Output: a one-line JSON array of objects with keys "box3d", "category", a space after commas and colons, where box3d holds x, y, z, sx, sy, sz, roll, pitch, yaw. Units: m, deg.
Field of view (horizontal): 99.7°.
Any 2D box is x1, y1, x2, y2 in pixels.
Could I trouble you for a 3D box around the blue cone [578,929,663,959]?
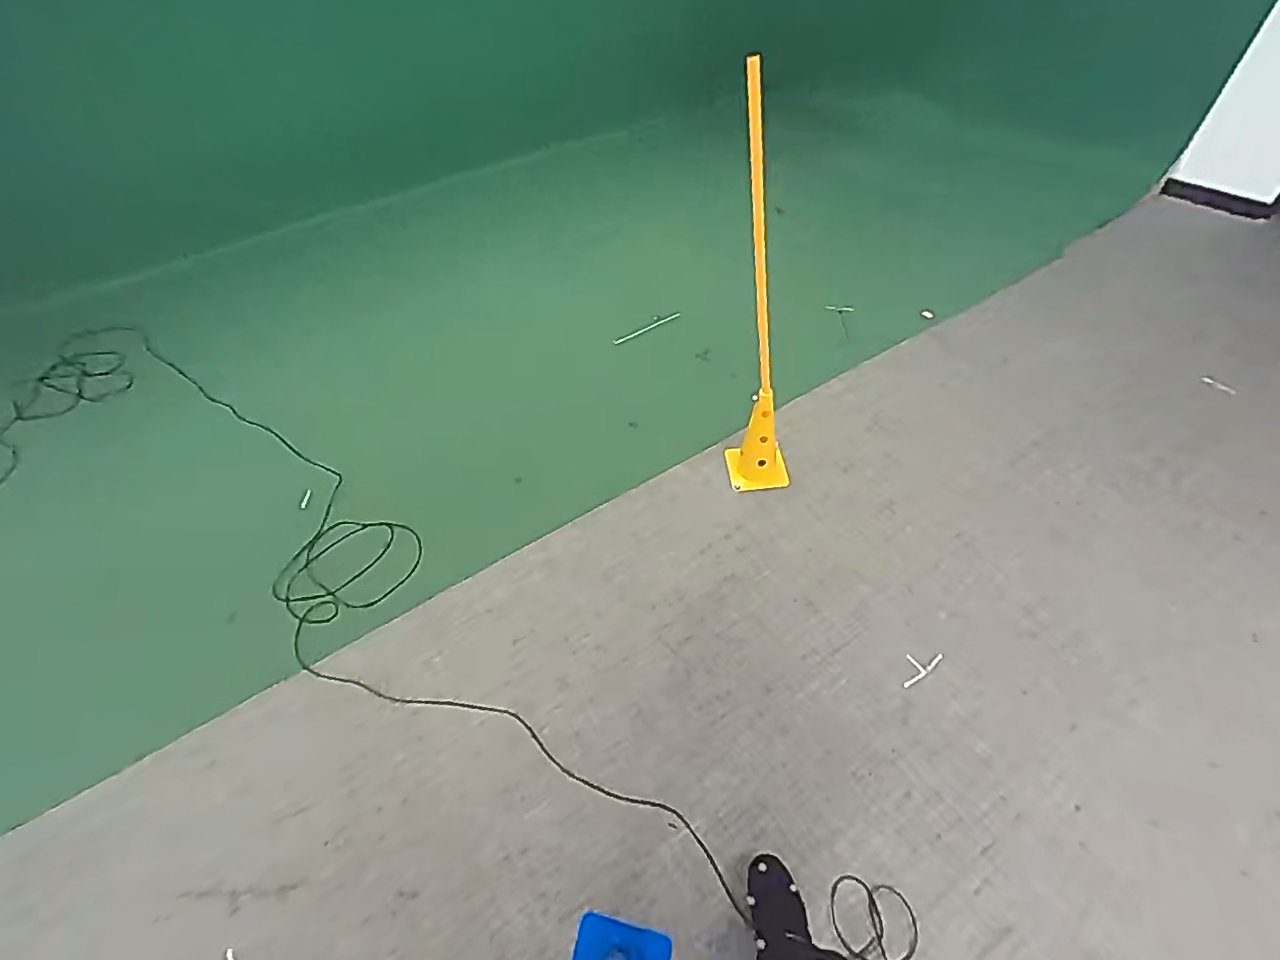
[{"box3d": [-0.060, 0.918, 0.934, 0.192, 0.380, 0.193, 7, 53, 10], "category": "blue cone"}]
